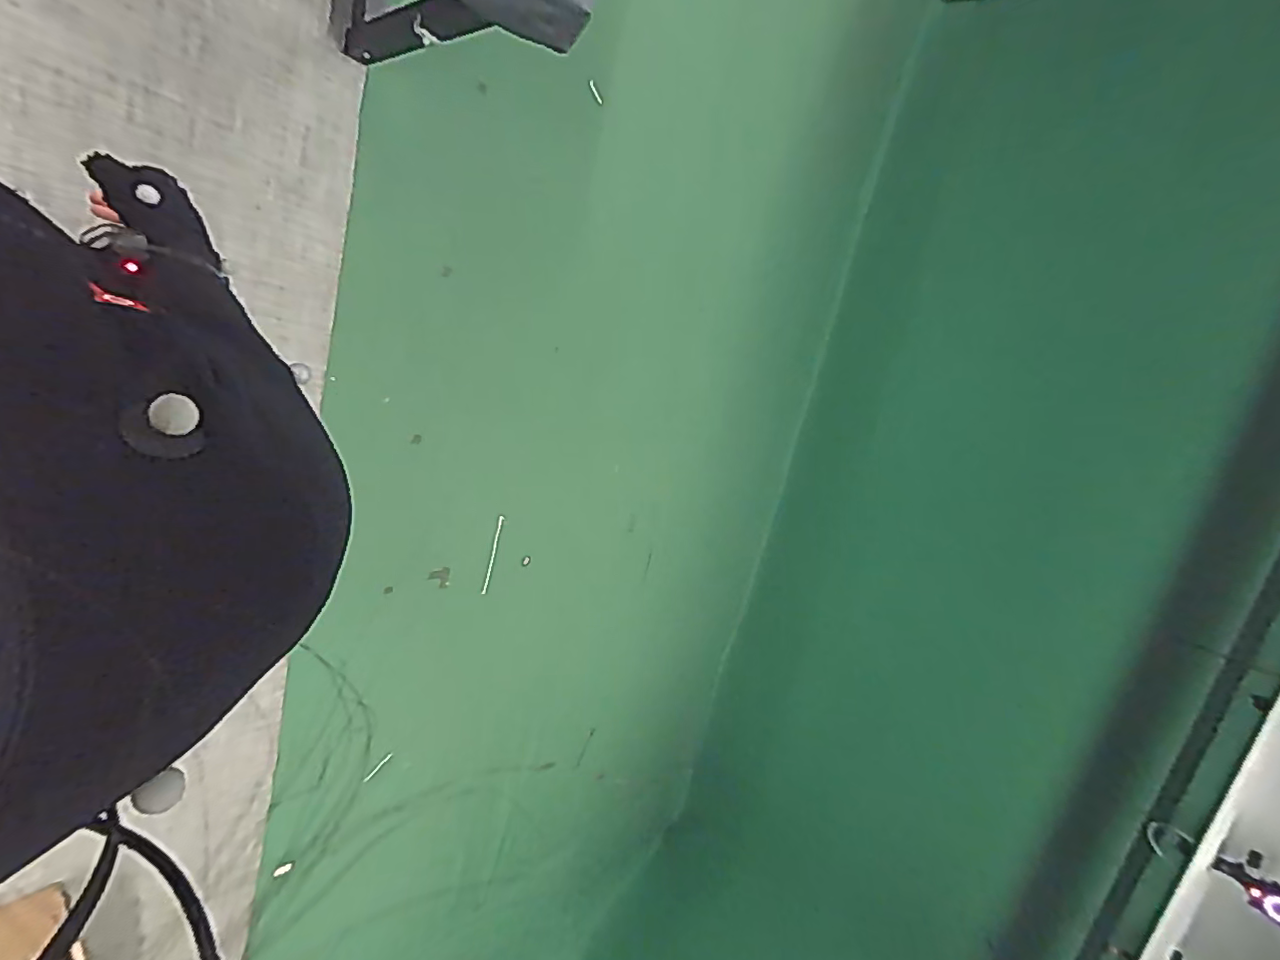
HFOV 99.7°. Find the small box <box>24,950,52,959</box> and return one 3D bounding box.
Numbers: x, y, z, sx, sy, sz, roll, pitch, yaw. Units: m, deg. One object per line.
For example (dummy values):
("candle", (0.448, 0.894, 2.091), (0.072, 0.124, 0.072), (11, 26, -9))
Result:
("small box", (-1.388, 1.198, 1.170), (0.179, 0.176, 0.168), (-13, 119, -48))
